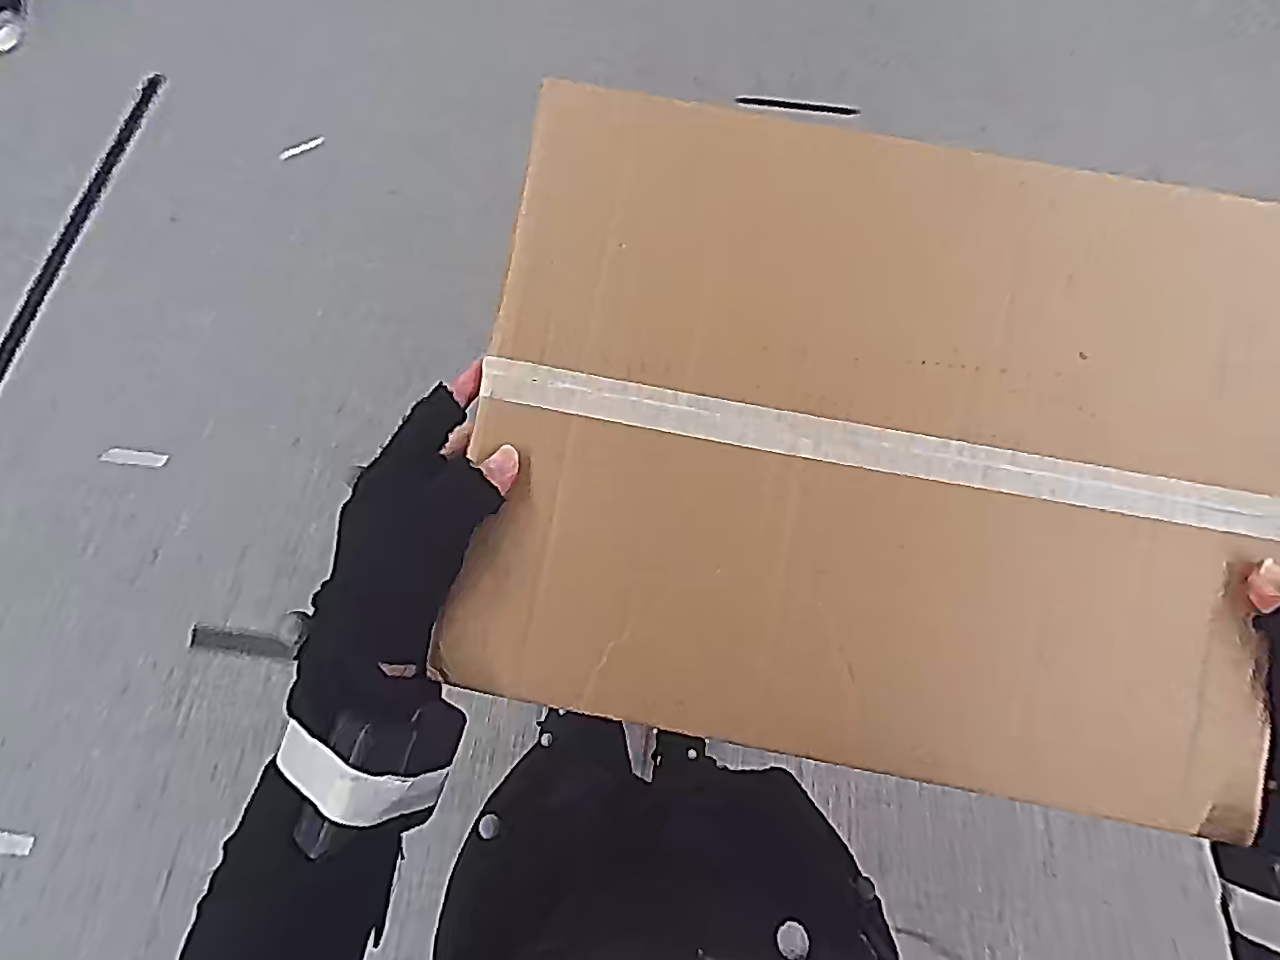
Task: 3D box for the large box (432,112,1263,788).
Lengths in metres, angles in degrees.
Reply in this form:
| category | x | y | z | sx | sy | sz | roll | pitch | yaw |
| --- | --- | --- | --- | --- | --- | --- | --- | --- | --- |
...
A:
| category | x | y | z | sx | sy | sz | roll | pitch | yaw |
| --- | --- | --- | --- | --- | --- | --- | --- | --- | --- |
| large box | 0.111 | -0.016 | 0.432 | 0.408 | 0.320 | 0.320 | 9 | 88 | 1 |
